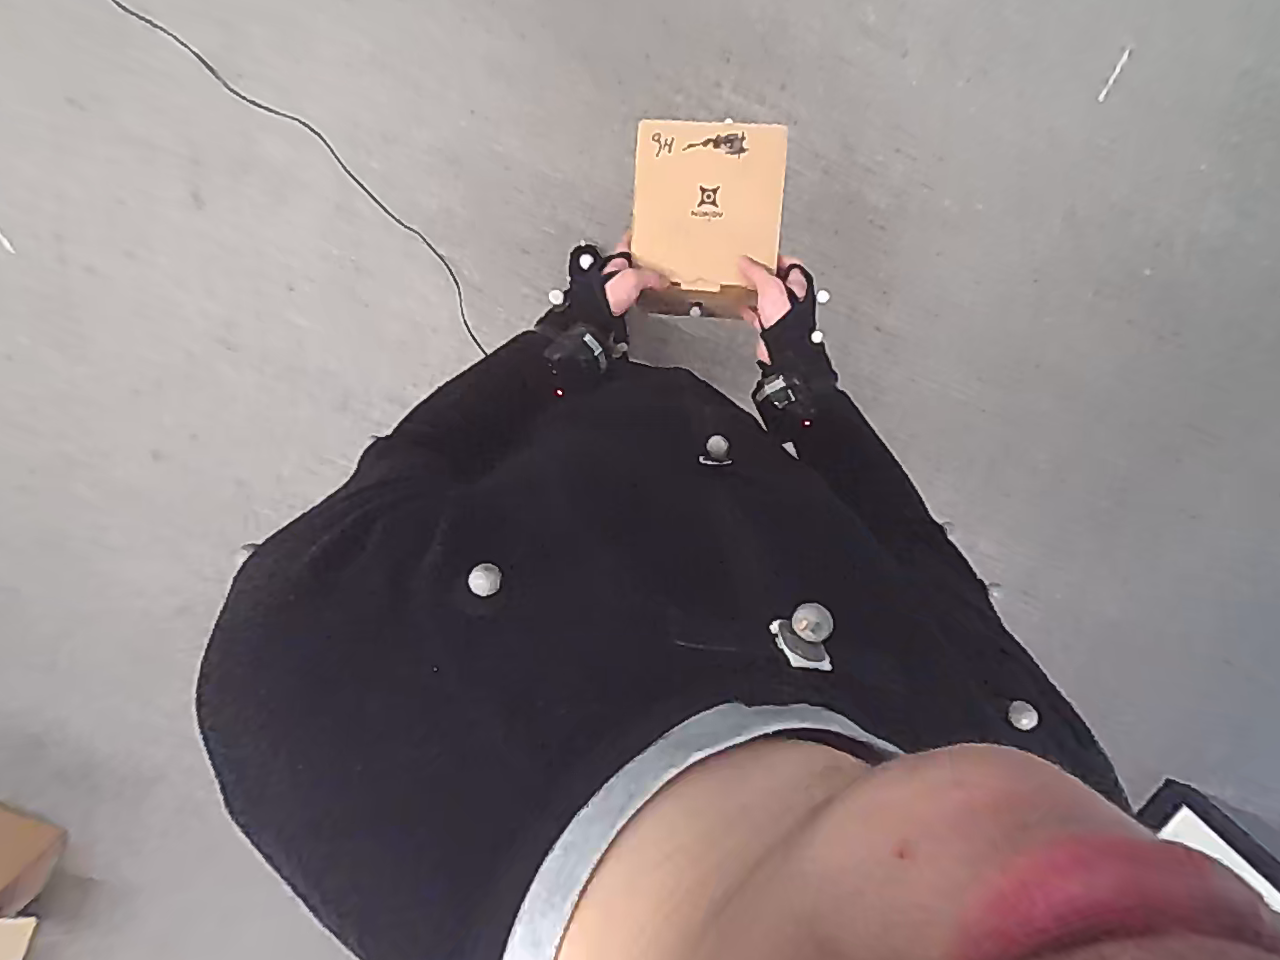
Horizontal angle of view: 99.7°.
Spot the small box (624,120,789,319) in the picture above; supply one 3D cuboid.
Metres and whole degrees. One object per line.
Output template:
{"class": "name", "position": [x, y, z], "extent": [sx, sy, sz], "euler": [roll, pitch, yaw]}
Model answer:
{"class": "small box", "position": [0.076, -0.301, 0.661], "extent": [0.168, 0.176, 0.179], "euler": [5, 96, 3]}
